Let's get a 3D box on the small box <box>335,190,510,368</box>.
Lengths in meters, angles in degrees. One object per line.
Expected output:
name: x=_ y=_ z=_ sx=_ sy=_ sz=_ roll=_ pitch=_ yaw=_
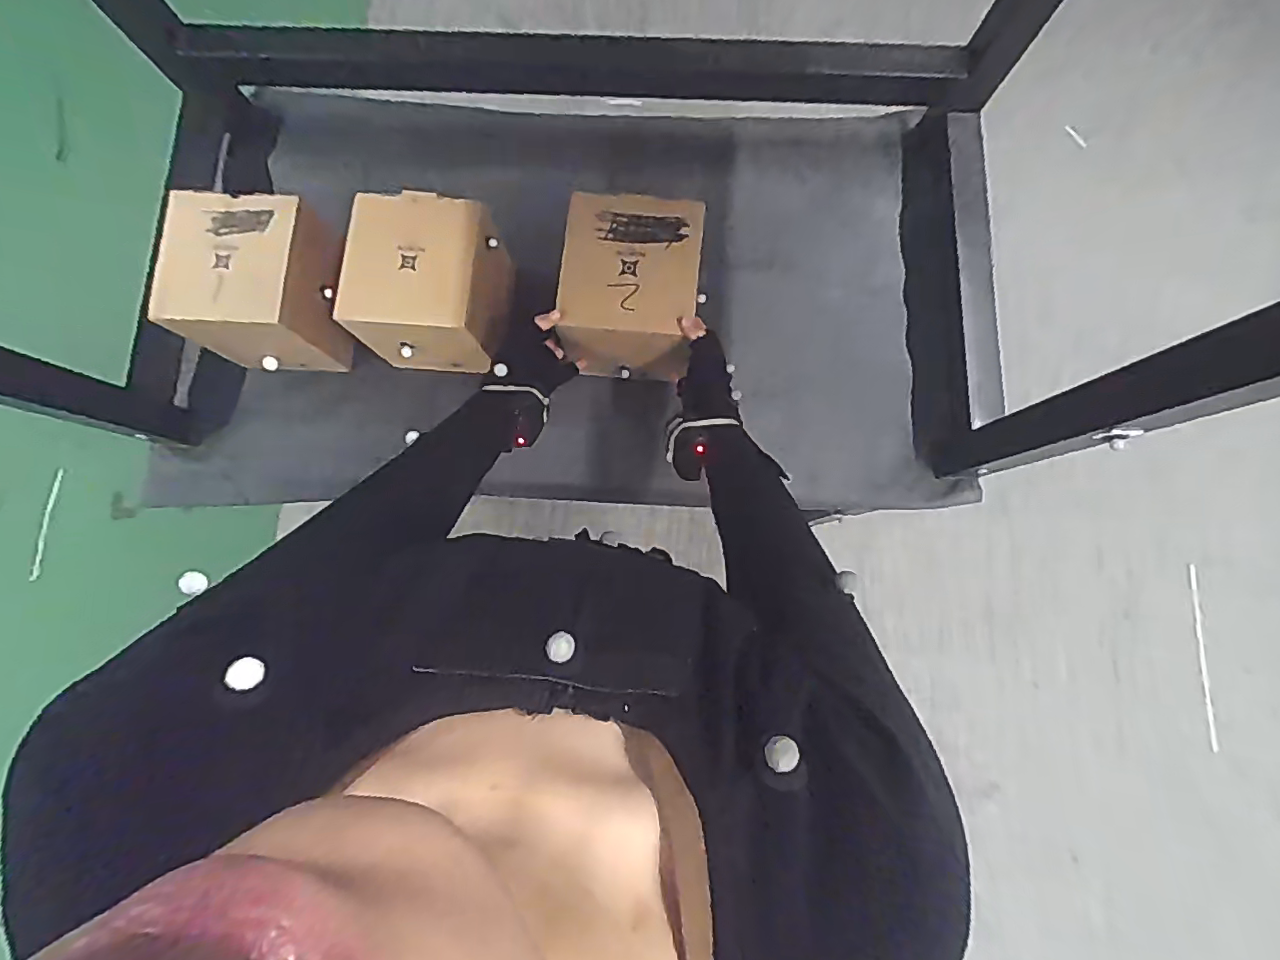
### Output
small box: x=-0.287 y=-0.267 z=0.753 sx=0.168 sy=0.176 sz=0.179 roll=4 pitch=80 yaw=1

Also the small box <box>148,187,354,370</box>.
small box: x=-0.514 y=-0.270 z=0.752 sx=0.168 sy=0.176 sz=0.179 roll=3 pitch=81 yaw=0
